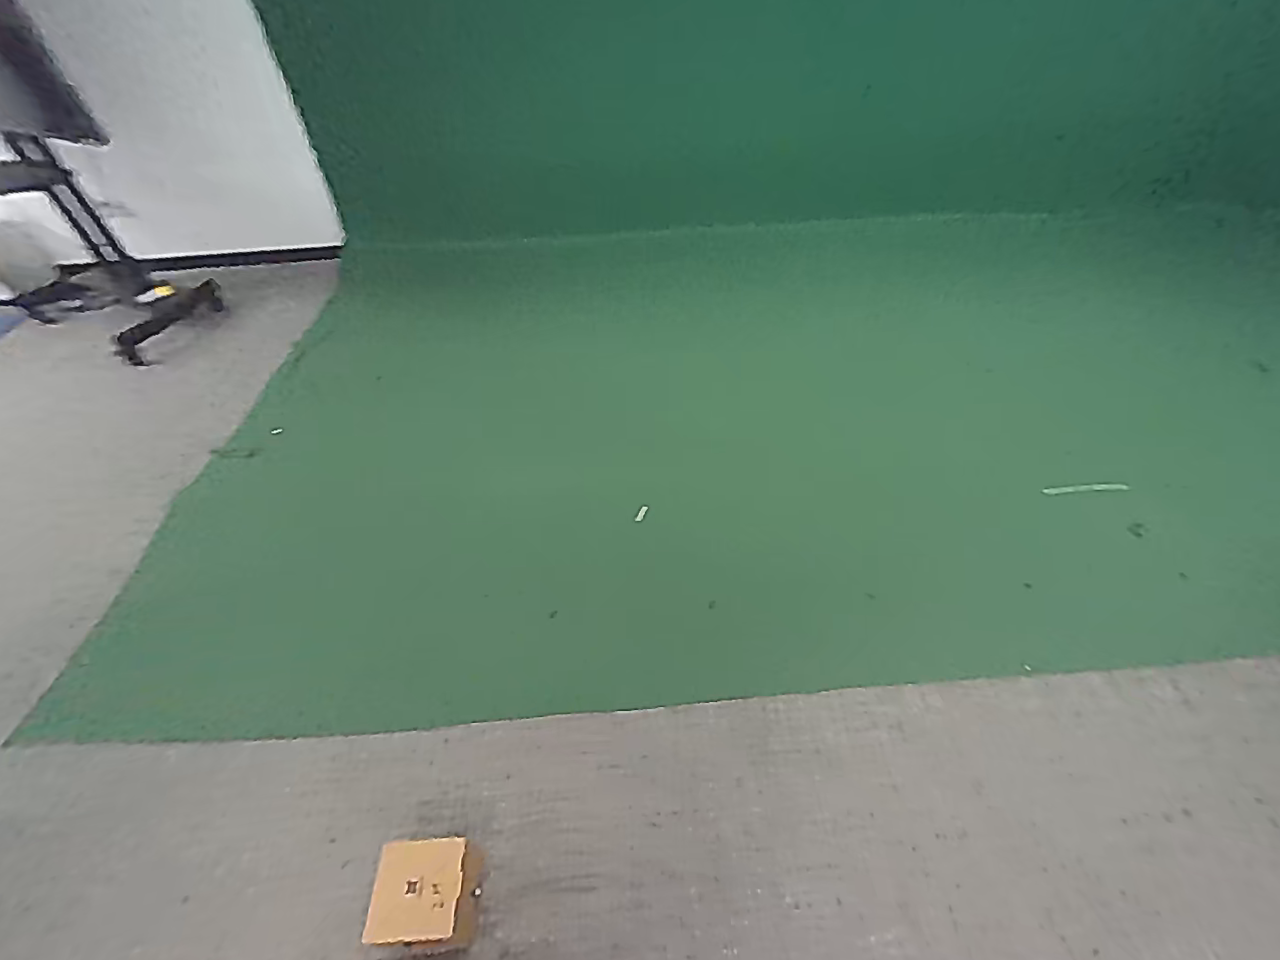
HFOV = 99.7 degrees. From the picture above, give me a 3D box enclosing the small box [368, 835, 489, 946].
[{"bbox_3d":[-0.437,0.874,1.150,0.179,0.176,0.168,-3,46,-1],"label":"small box"}]
